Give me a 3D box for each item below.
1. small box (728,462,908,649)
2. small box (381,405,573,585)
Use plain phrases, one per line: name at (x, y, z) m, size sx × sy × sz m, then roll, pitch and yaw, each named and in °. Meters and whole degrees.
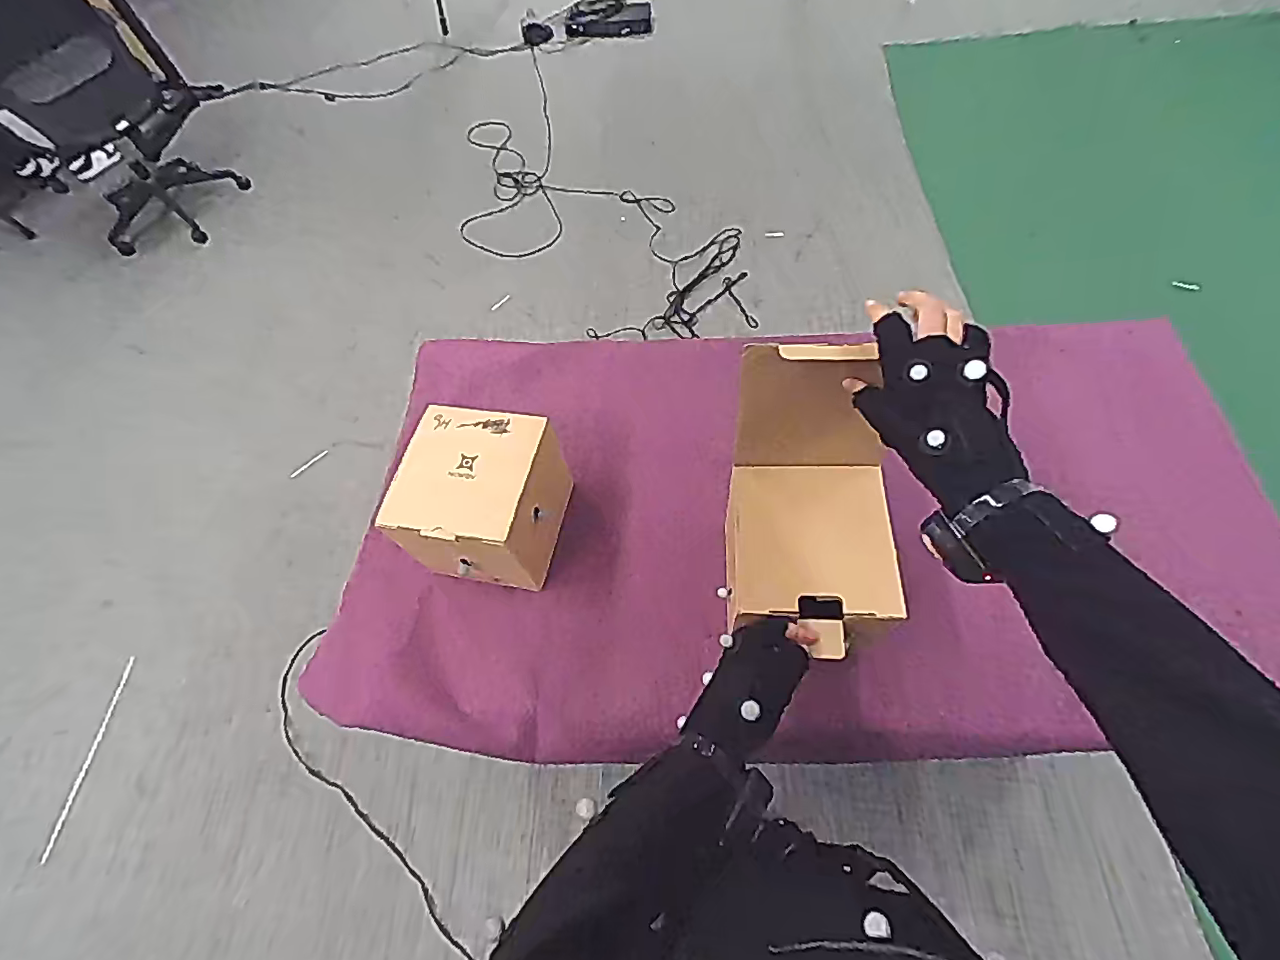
small box at (0.192, 0.095, 0.638) m, size 0.168 × 0.176 × 0.179 m, roll 0°, pitch 60°, yaw 6°
small box at (-0.199, 0.026, 0.720) m, size 0.168 × 0.176 × 0.179 m, roll 8°, pitch 62°, yaw 10°
